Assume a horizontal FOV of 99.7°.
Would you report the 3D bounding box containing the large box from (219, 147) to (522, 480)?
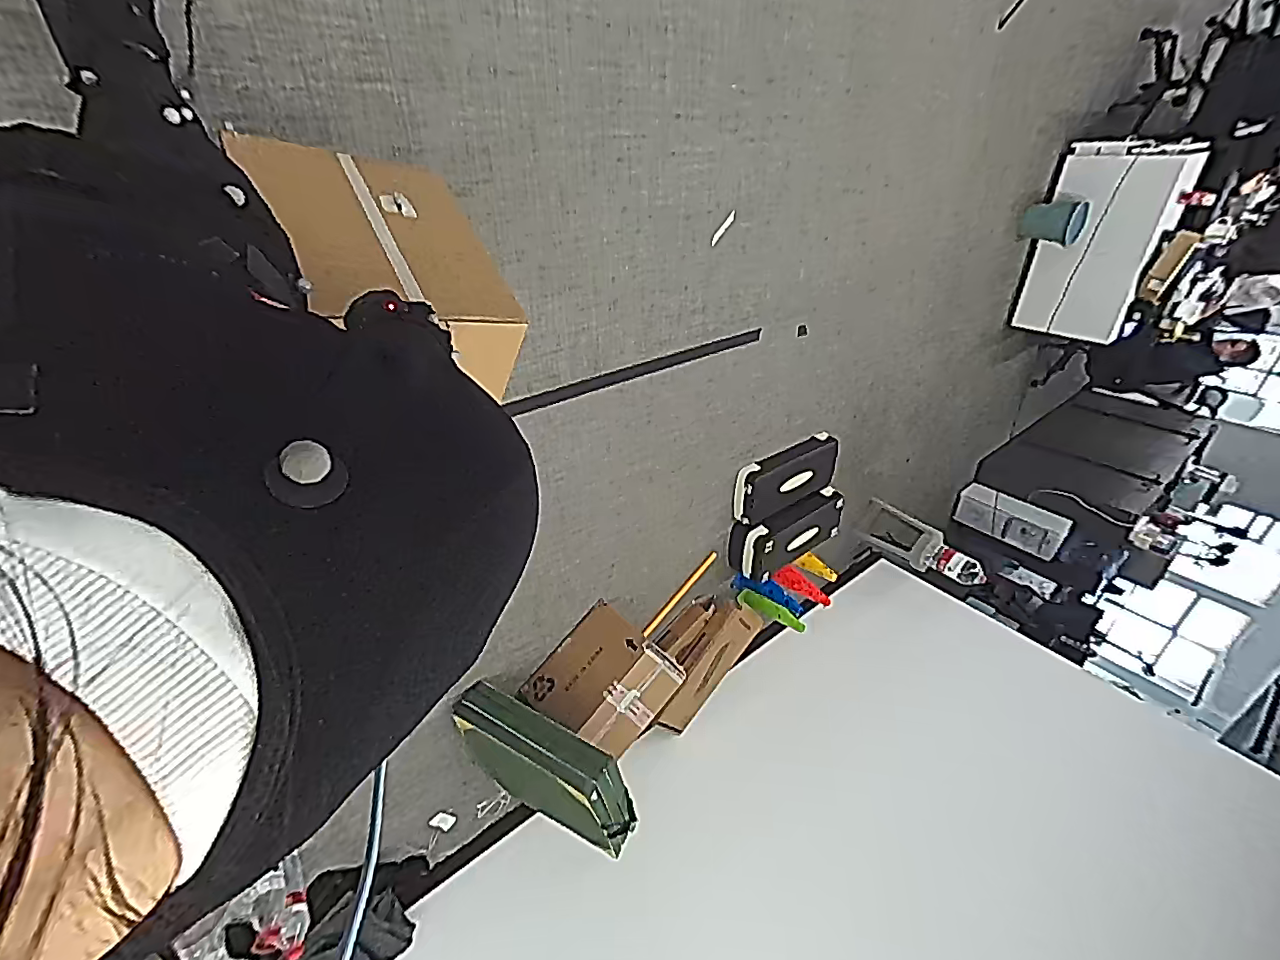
[{"bbox_3d":[-0.452,-0.263,0.894,0.320,0.408,0.320,-12,147,-41],"label":"large box"}]
